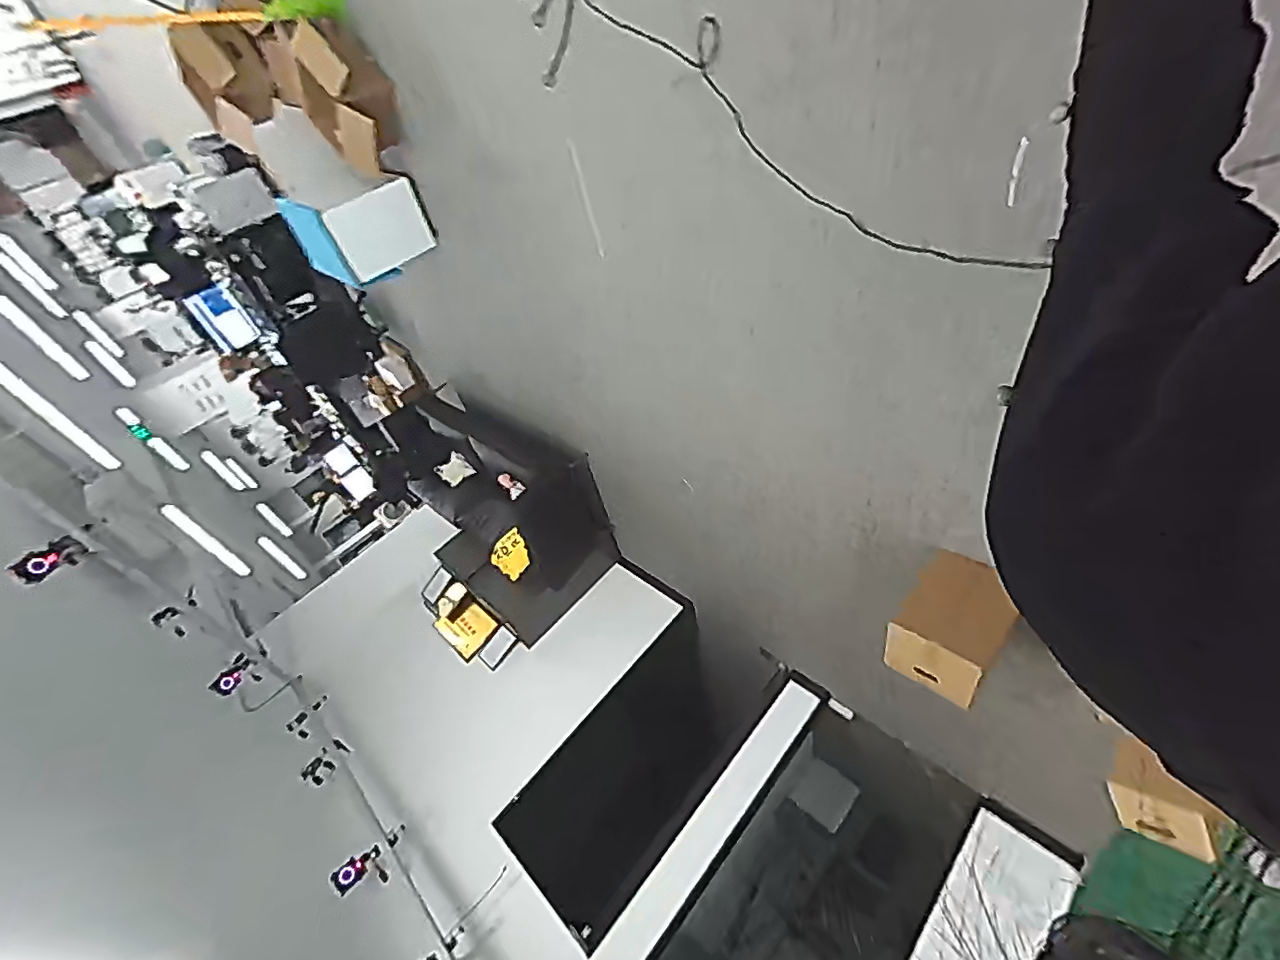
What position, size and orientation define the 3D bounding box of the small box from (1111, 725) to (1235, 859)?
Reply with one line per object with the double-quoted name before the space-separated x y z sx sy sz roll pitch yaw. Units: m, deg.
"small box" 1.252 0.721 1.267 0.168 0.176 0.179 -1 125 57
